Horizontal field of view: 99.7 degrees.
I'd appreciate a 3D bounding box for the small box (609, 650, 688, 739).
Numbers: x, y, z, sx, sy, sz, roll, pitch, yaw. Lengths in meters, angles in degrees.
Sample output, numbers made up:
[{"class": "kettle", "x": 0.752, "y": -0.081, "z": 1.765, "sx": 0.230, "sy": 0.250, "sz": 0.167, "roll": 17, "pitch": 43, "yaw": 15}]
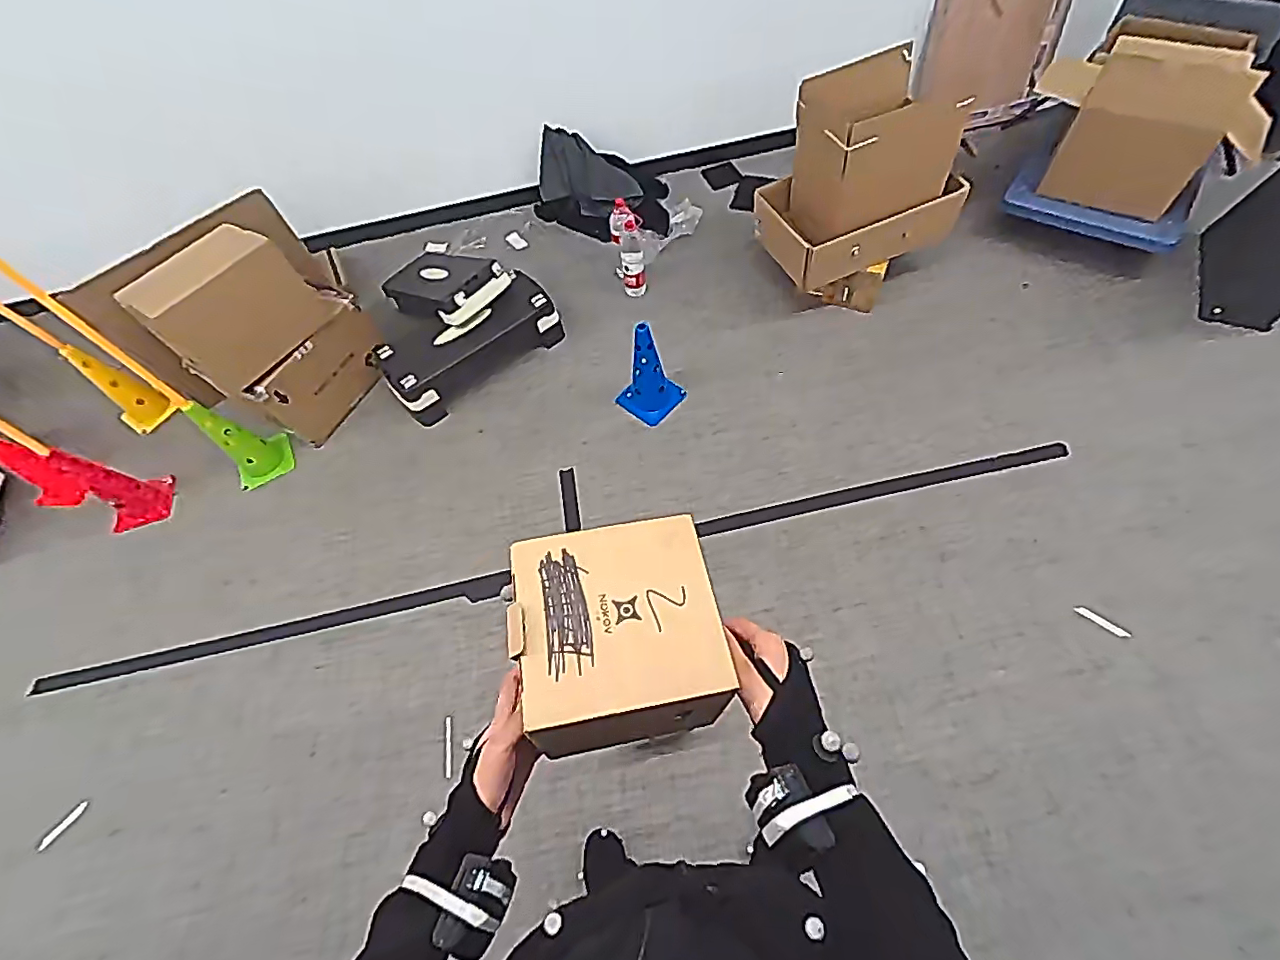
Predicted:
[{"class": "small box", "x": 0.026, "y": 0.564, "z": 1.407, "sx": 0.168, "sy": 0.176, "sz": 0.179, "roll": -15, "pitch": 60, "yaw": -2}]
